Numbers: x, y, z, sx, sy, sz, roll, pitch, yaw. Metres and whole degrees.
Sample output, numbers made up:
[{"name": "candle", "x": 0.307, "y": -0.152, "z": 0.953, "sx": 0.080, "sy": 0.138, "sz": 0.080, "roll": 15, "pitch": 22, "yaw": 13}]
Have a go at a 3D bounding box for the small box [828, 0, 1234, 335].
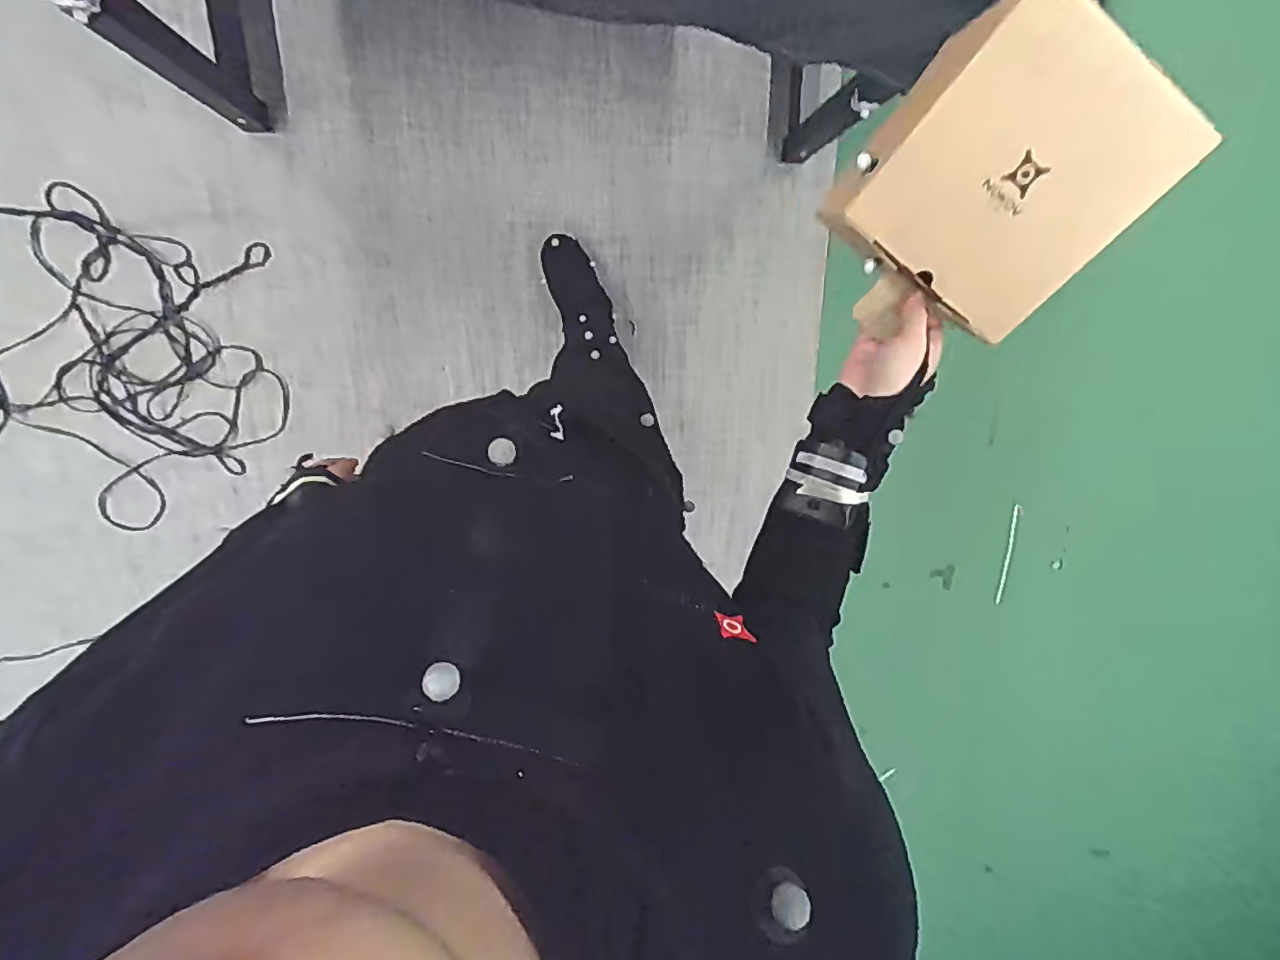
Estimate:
[{"name": "small box", "x": 0.278, "y": -0.254, "z": 0.439, "sx": 0.168, "sy": 0.176, "sz": 0.179, "roll": 34, "pitch": 119, "yaw": -10}]
